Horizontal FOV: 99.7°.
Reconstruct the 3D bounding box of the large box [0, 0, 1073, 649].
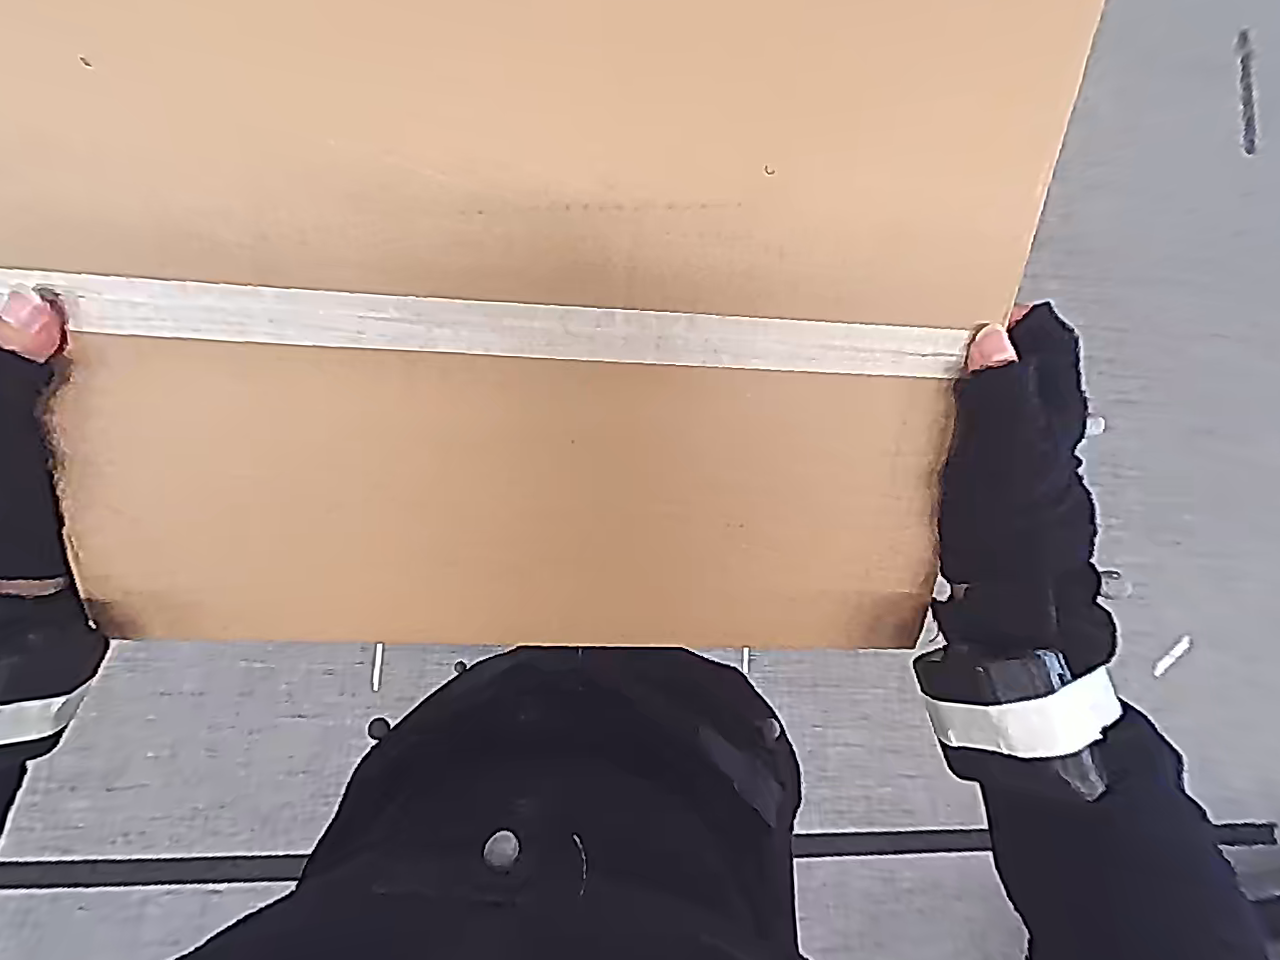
[{"bbox_3d":[-0.054,-0.107,0.372,0.408,0.320,0.320,2,110,-5],"label":"large box"}]
